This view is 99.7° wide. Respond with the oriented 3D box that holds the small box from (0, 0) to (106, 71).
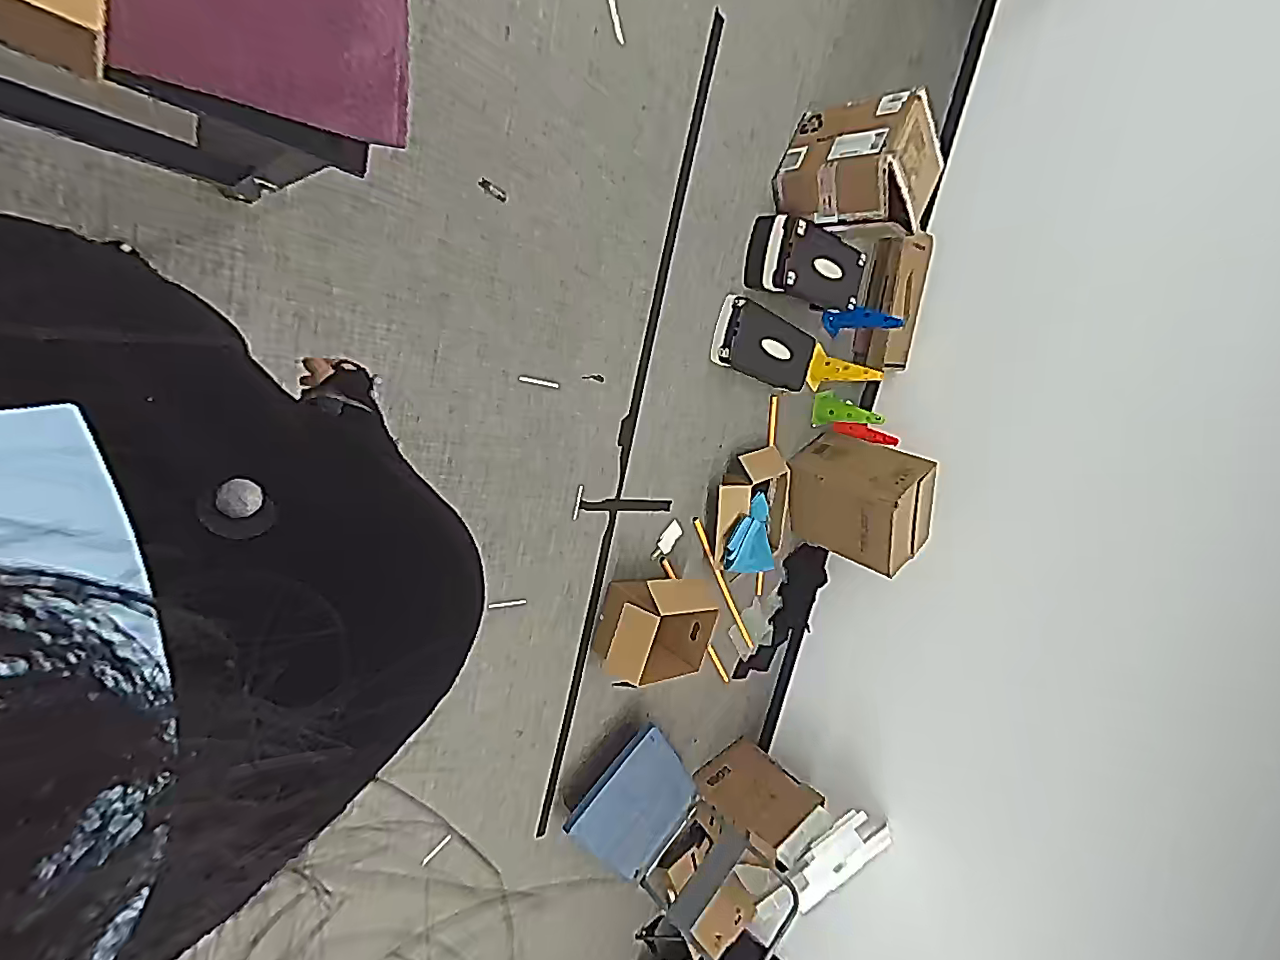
[{"bbox_3d":[-0.478,-0.427,0.368,0.168,0.176,0.179,3,103,-46],"label":"small box"}]
